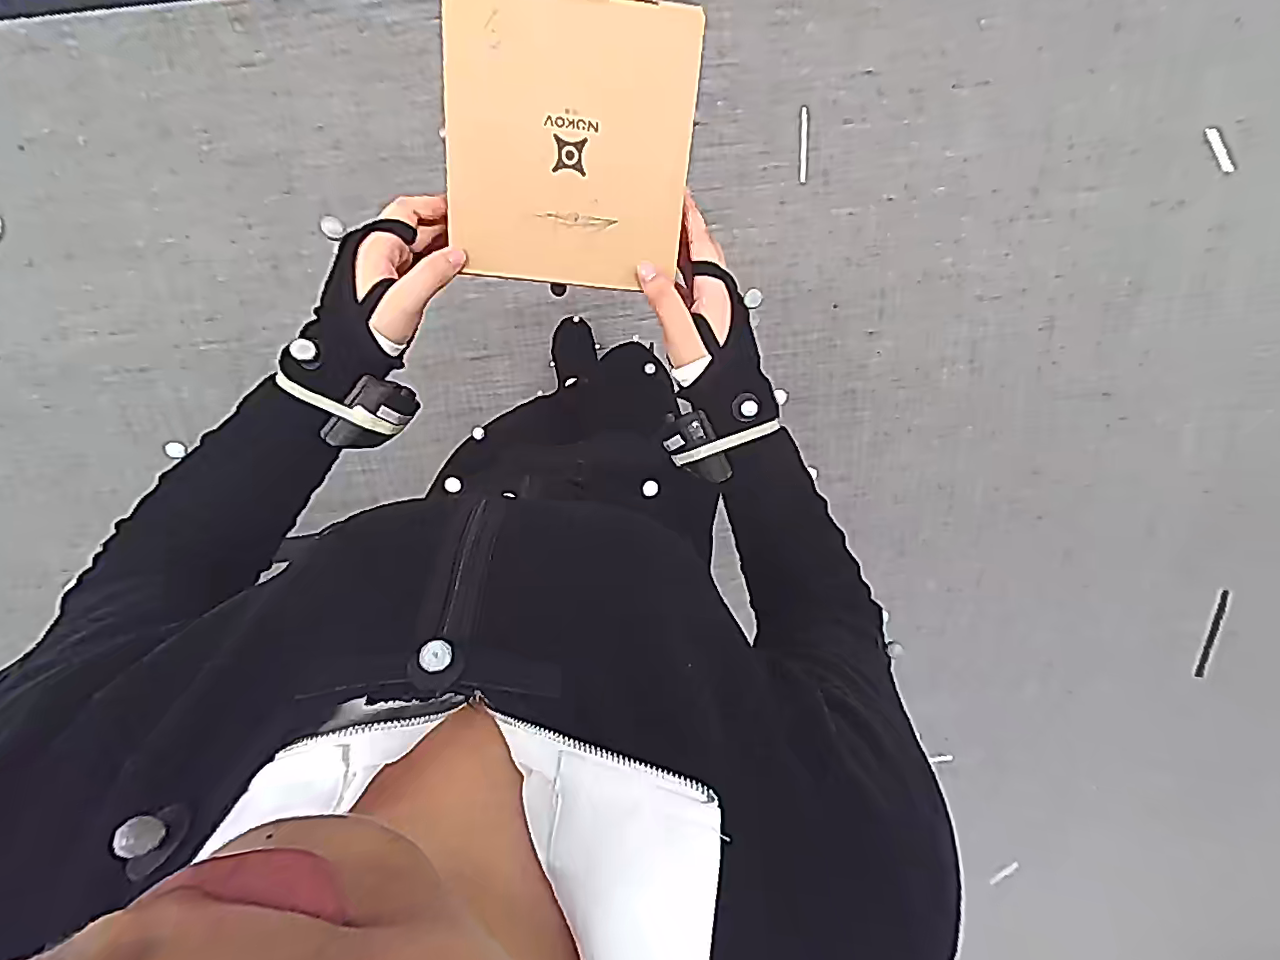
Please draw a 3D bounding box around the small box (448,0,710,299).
[{"bbox_3d":[-0.052,-0.251,0.438,0.168,0.176,0.179,5,112,-6],"label":"small box"}]
